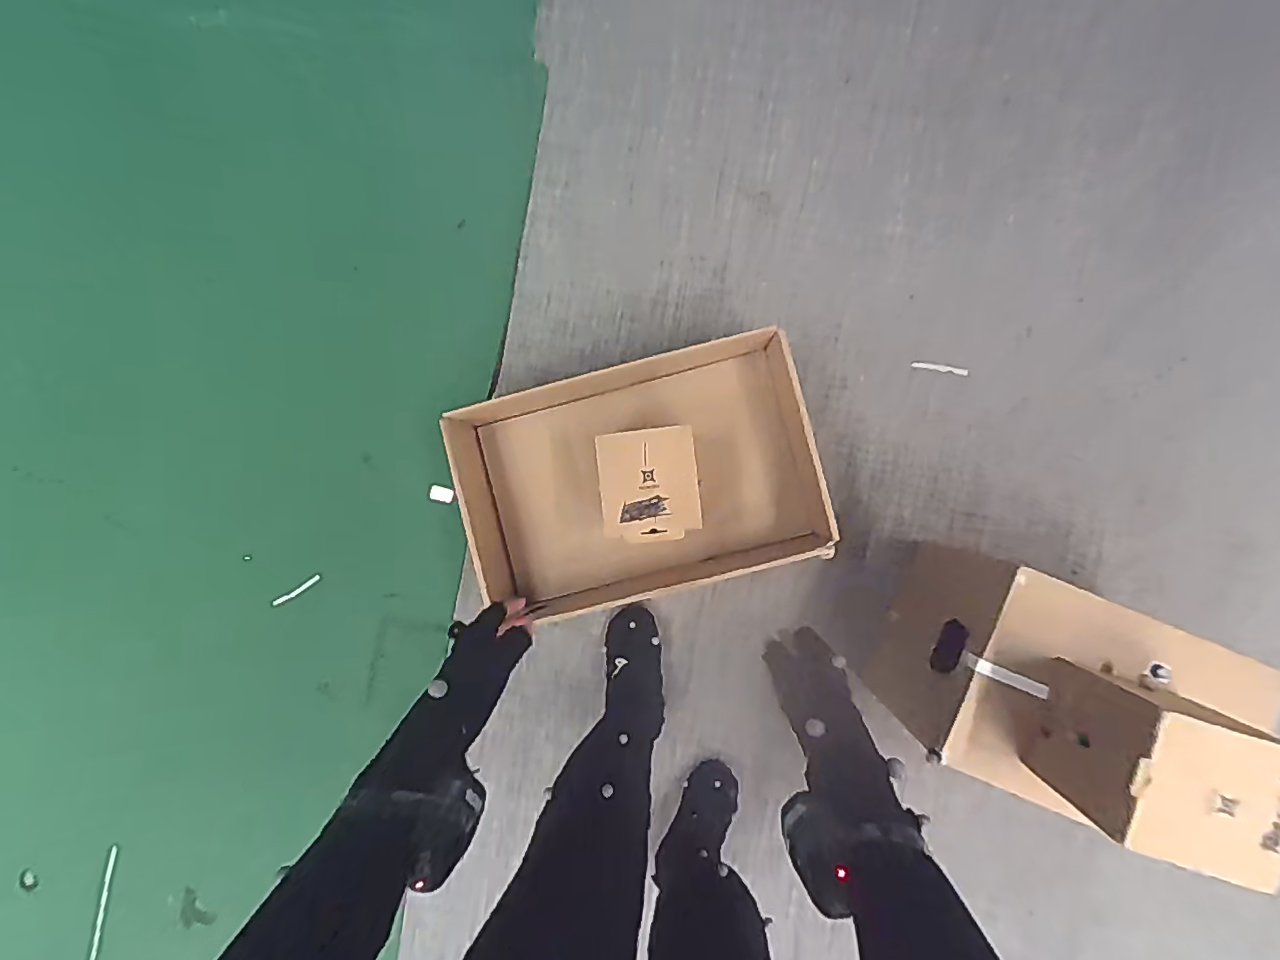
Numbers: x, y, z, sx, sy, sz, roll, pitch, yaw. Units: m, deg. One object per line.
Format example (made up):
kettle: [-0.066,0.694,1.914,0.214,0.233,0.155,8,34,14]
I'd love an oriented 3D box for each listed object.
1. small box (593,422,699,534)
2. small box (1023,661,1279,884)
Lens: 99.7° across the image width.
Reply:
small box: [0.016,-0.003,0.976,0.168,0.176,0.179,-6,89,4]
small box: [0.640,0.350,0.687,0.179,0.176,0.168,17,92,3]
